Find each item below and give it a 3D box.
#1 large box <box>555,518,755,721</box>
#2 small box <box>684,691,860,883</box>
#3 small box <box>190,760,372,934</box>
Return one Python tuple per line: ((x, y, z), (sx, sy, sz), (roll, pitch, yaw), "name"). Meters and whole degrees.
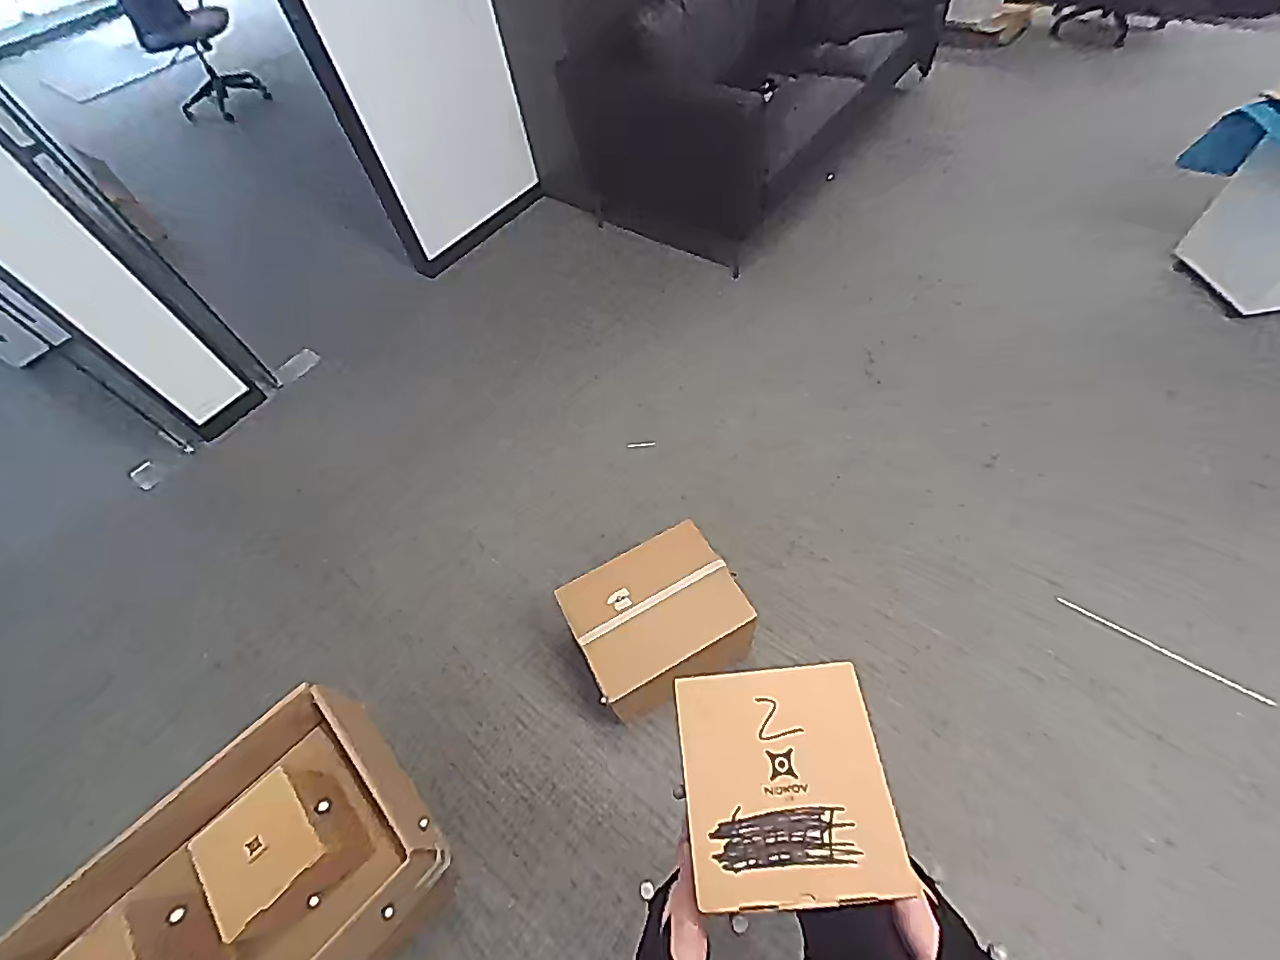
((0.045, 0.375, 1.435), (0.408, 0.320, 0.320), (-28, 58, -10), "large box")
((0.147, 0.372, 0.659), (0.168, 0.176, 0.179), (-7, 55, 3), "small box")
((-0.606, 0.621, 0.930), (0.168, 0.176, 0.179), (-41, 63, -19), "small box")
